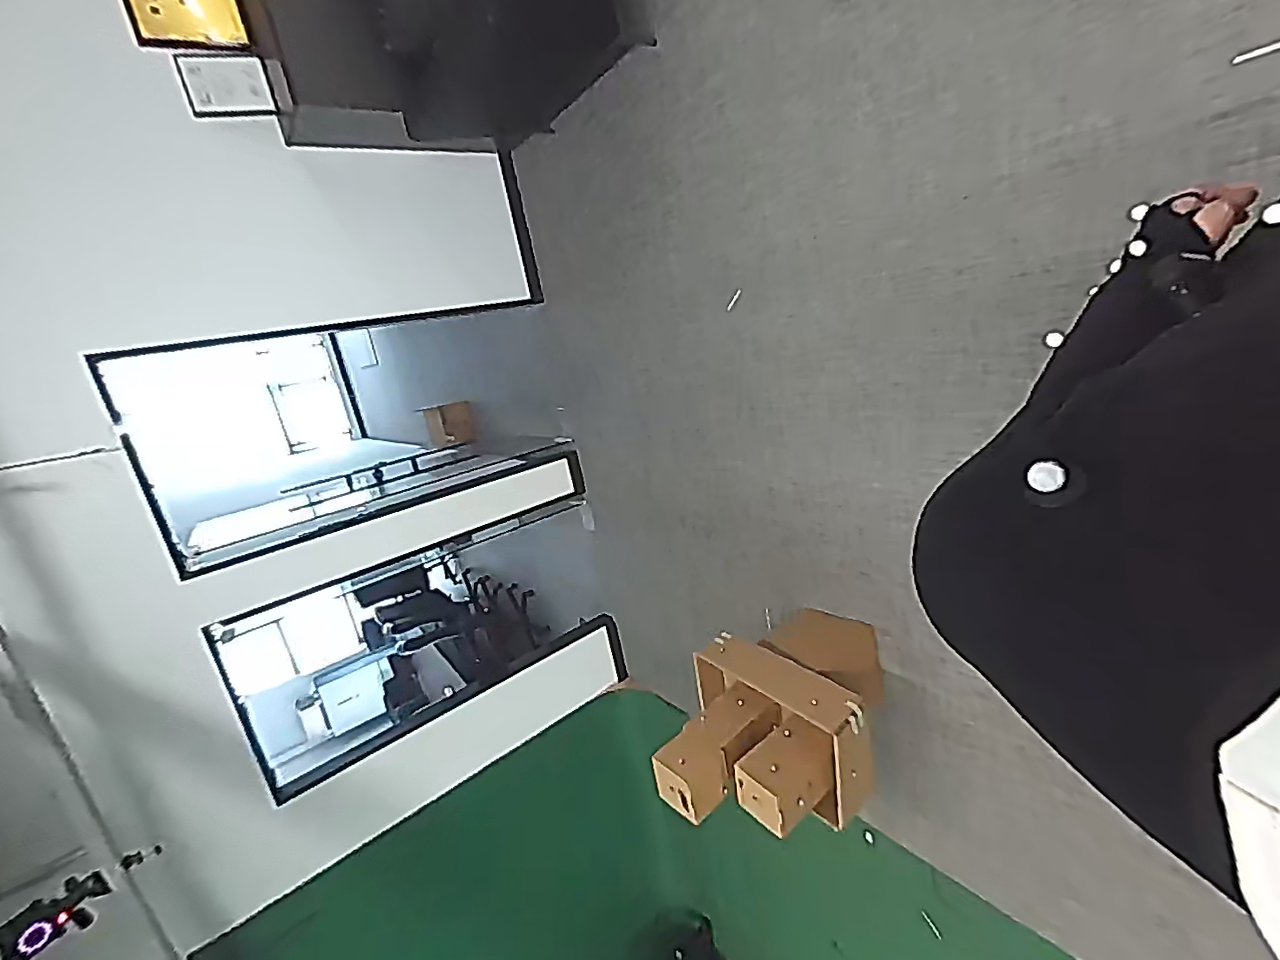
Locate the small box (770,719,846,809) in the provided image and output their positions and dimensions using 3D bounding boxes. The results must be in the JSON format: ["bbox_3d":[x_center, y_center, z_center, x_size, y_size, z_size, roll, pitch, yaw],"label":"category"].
[{"bbox_3d":[0.556,0.923,1.782,0.179,0.176,0.168,15,119,52],"label":"small box"}]

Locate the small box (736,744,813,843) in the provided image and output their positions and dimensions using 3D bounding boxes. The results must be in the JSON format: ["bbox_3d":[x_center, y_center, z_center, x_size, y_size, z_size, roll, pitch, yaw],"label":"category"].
[{"bbox_3d":[0.427,0.969,1.694,0.179,0.176,0.168,15,118,51],"label":"small box"}]

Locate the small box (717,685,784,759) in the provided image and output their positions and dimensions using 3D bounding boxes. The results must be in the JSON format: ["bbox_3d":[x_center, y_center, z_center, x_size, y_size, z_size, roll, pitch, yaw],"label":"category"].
[{"bbox_3d":[0.408,0.882,1.984,0.179,0.176,0.168,10,114,49],"label":"small box"}]

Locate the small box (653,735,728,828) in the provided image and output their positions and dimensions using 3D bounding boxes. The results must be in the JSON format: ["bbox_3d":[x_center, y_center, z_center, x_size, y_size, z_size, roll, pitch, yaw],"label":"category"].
[{"bbox_3d":[0.173,0.977,1.773,0.179,0.176,0.168,8,112,51],"label":"small box"}]
